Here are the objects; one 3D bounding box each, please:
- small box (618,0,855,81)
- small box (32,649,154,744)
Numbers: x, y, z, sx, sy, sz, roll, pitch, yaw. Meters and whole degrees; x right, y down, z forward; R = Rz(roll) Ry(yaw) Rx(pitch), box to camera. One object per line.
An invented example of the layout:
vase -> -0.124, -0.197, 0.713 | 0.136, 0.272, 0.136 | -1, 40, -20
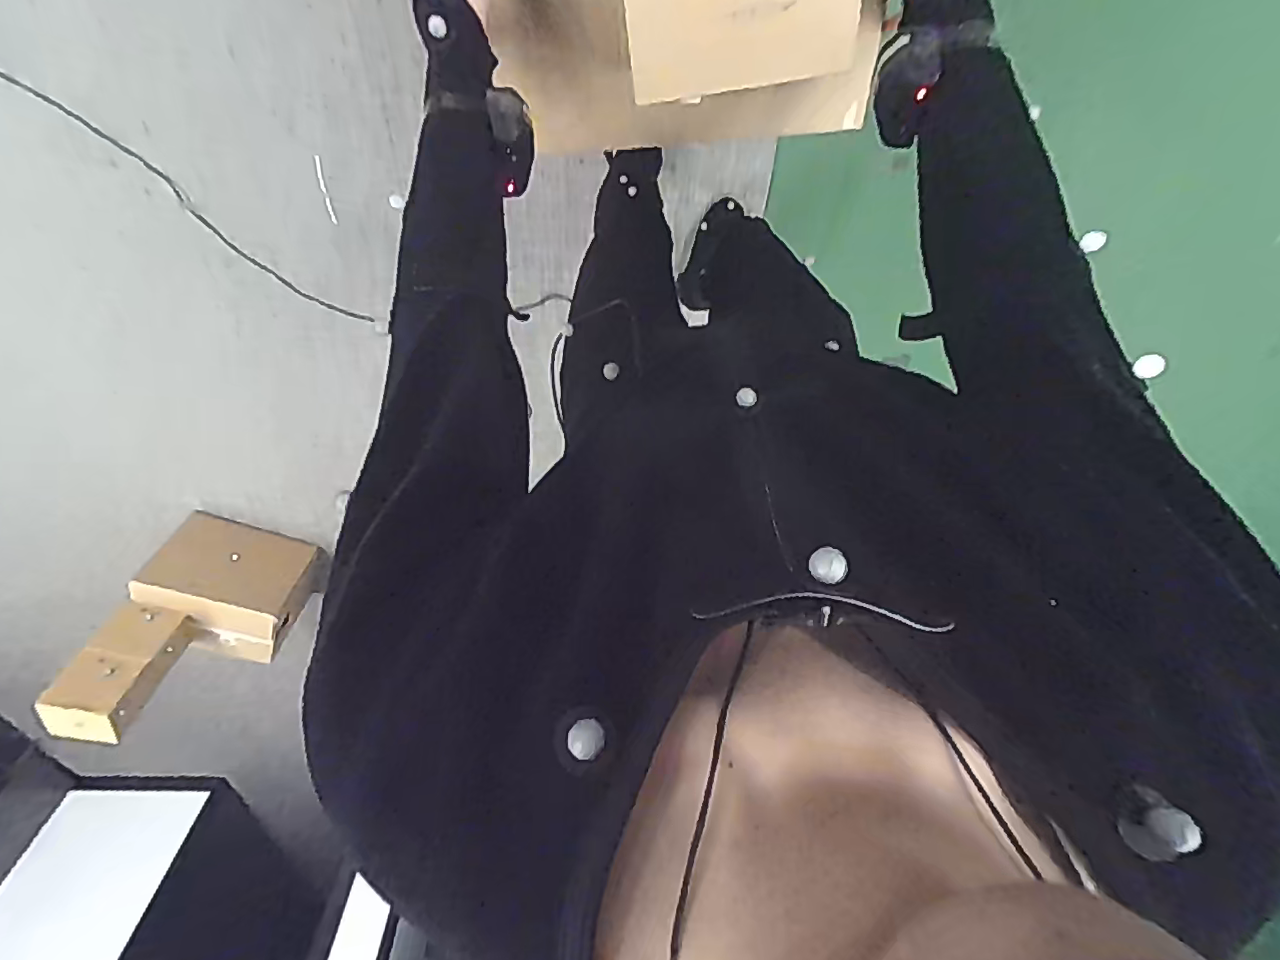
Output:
small box -> 0.060, -0.424, 0.399 | 0.168, 0.176, 0.179 | -6, 134, 4
small box -> -1.512, 0.604, 1.512 | 0.168, 0.176, 0.179 | 18, 127, -15
